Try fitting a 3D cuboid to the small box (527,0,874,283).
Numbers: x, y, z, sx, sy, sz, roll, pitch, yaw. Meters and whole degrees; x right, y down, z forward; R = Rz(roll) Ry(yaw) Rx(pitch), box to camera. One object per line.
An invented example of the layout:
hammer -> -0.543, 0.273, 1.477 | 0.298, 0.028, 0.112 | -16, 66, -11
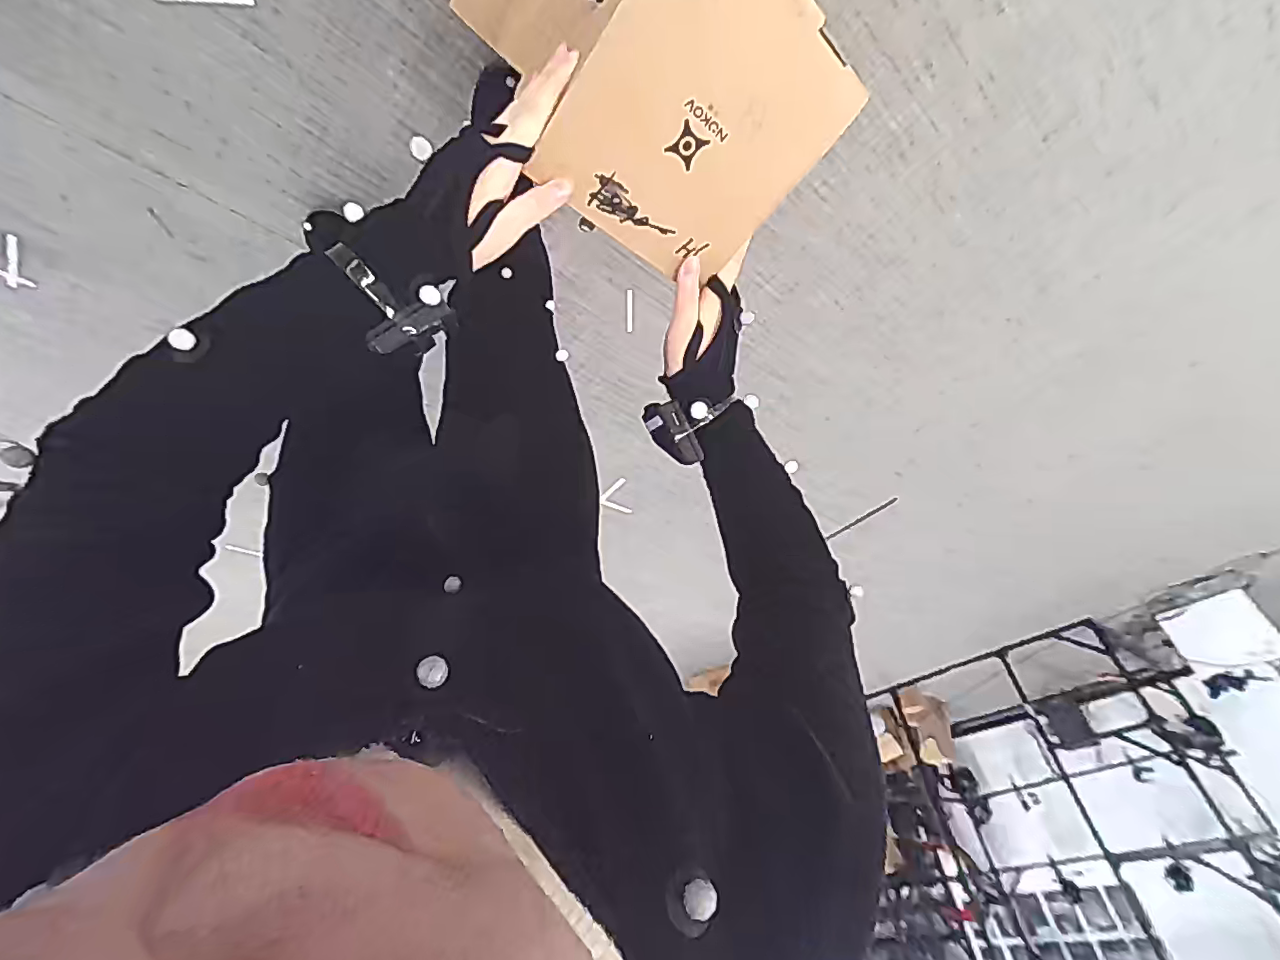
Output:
small box -> 0.026, -0.294, 0.401 | 0.168, 0.176, 0.179 | 23, 128, -35
